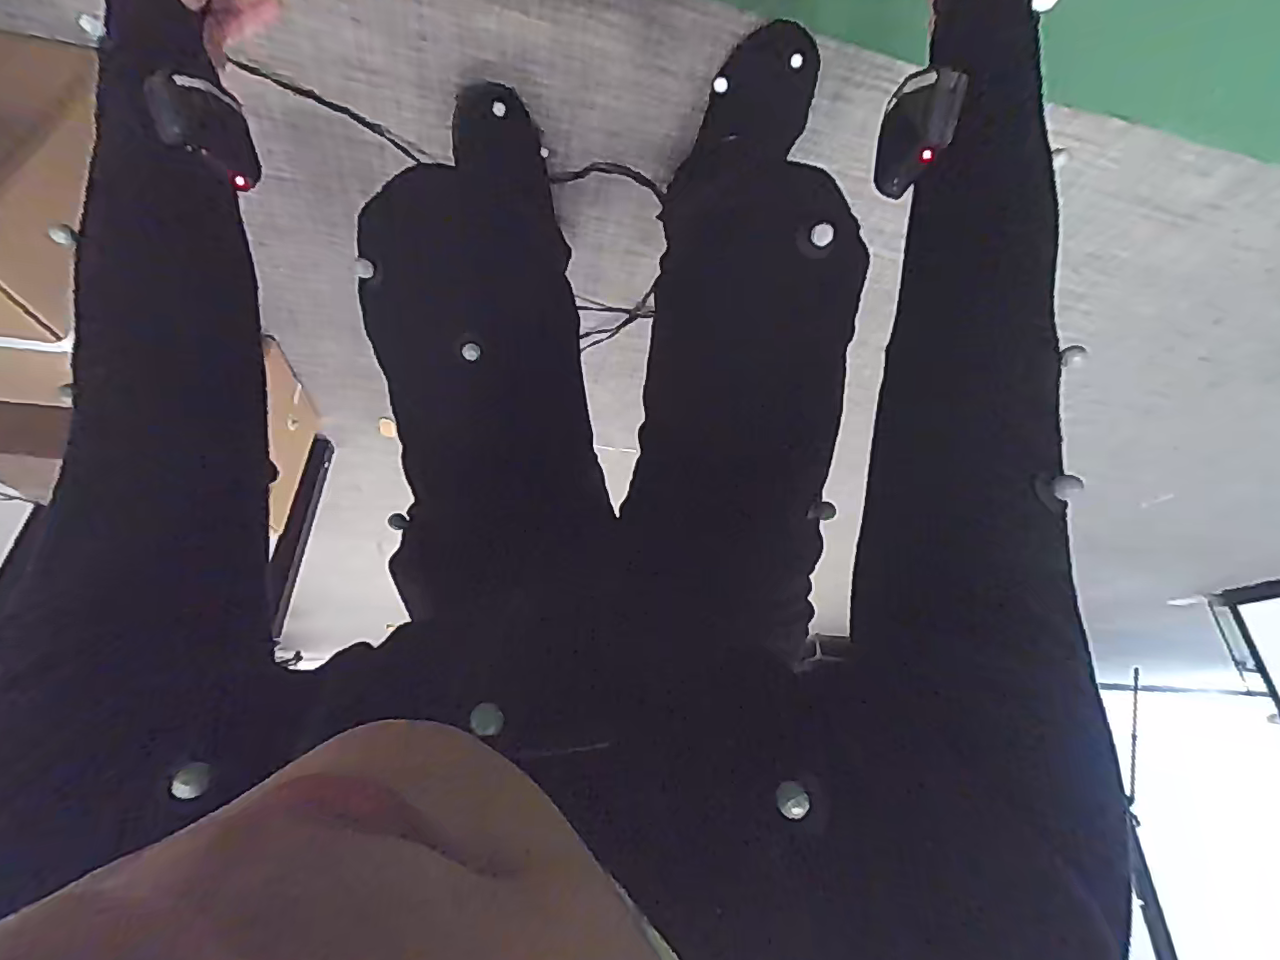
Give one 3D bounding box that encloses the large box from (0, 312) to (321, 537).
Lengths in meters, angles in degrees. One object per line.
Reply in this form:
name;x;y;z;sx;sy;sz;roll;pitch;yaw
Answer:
large box;-0.946;-0.095;1.095;0.408;0.320;0.320;7;153;-10
